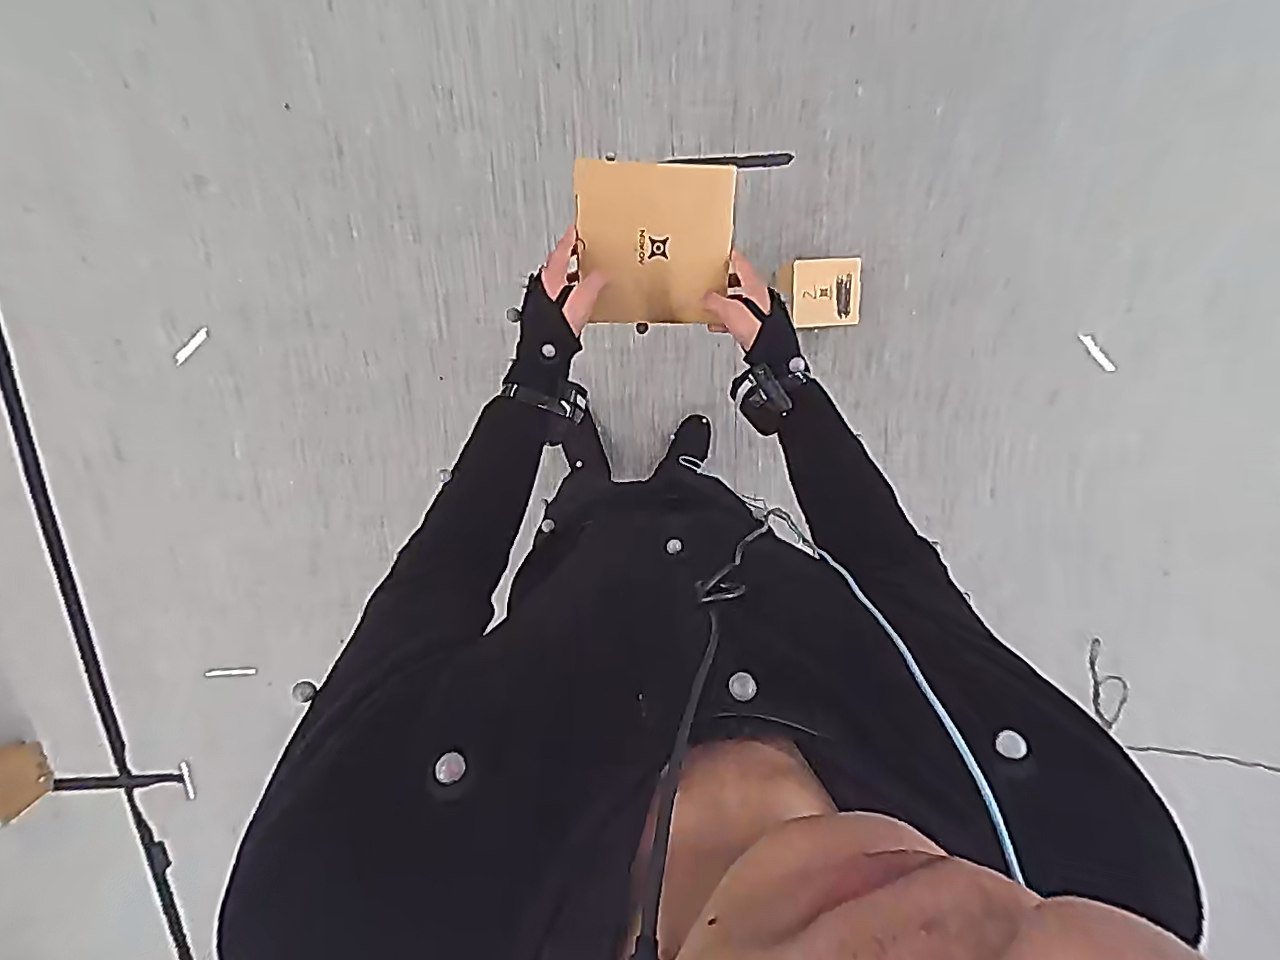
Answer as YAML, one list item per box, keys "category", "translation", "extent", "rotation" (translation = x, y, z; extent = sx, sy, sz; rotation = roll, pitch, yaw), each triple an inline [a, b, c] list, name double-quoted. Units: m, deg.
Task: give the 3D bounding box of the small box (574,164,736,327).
- category: "small box"
  translation: [0.008, -0.288, 0.674]
  extent: [0.179, 0.176, 0.168]
  rotation: [-1, 114, -4]
